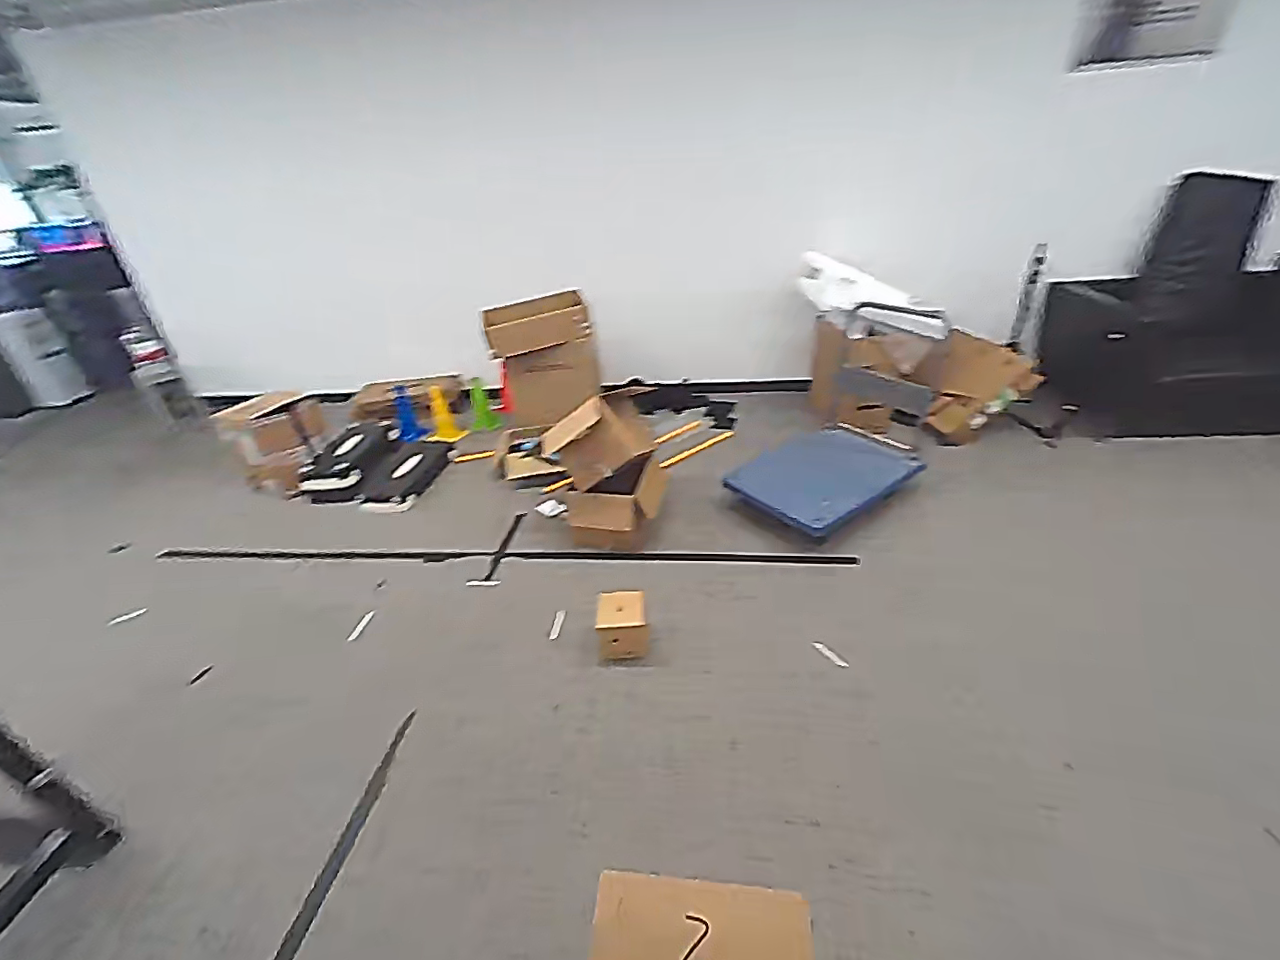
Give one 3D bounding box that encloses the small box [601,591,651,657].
[{"bbox_3d":[-0.049,0.533,1.981,0.168,0.176,0.179,-4,30,2],"label":"small box"}]
